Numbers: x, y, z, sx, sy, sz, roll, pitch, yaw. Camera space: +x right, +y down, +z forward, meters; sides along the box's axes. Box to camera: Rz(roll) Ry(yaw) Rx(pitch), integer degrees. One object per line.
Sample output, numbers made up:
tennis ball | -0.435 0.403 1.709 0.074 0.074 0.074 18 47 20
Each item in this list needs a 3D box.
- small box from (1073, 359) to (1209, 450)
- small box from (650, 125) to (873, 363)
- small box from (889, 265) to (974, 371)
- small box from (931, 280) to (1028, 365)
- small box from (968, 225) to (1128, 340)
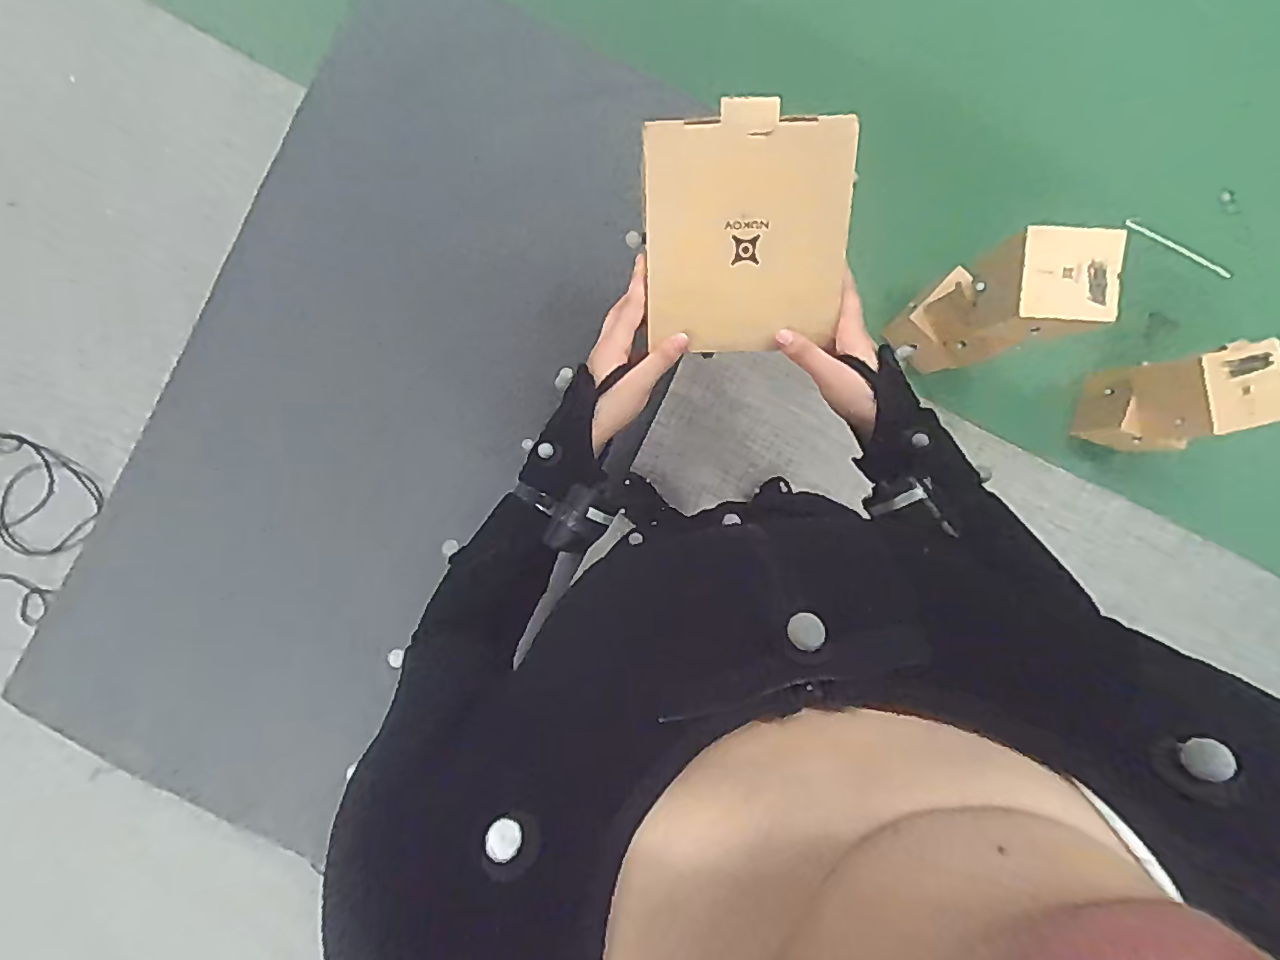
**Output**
small box | 1.254 -0.183 1.367 0.168 0.176 0.179 18 92 0
small box | 0.094 -0.211 0.506 0.168 0.176 0.179 -1 110 0
small box | 0.763 -0.400 1.369 0.168 0.176 0.179 43 92 -1
small box | 0.786 -0.374 1.208 0.179 0.176 0.168 -26 93 1
small box | 0.775 -0.372 1.043 0.179 0.176 0.168 4 93 2
